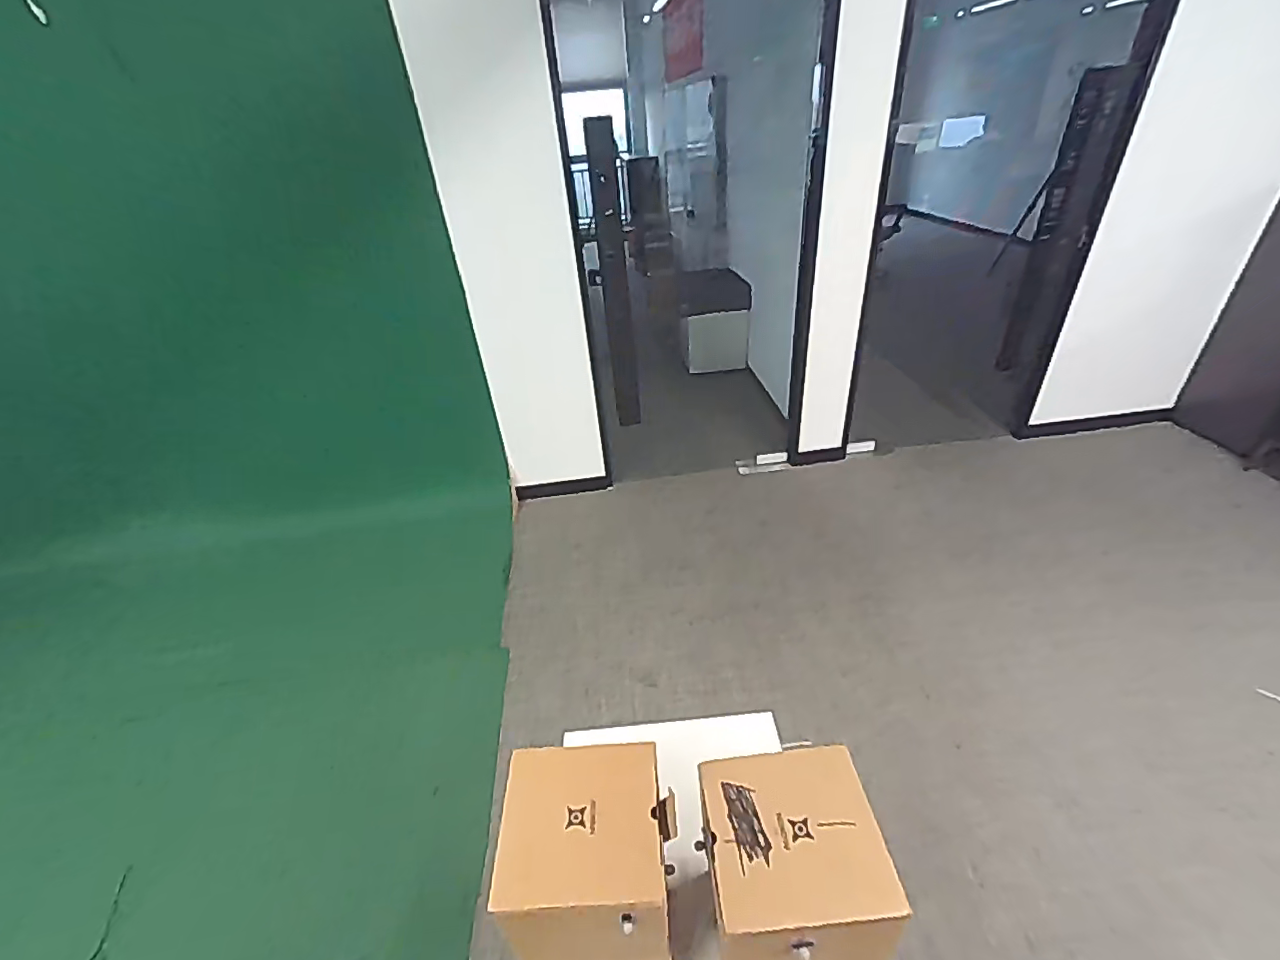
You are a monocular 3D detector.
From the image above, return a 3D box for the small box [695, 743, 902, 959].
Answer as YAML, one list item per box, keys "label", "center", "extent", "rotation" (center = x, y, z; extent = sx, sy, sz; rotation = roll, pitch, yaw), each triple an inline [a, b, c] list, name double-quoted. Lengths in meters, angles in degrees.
- label: "small box"
  center: [0.162, 0.428, 0.609]
  extent: [0.179, 0.176, 0.168]
  rotation: [-6, 33, 0]

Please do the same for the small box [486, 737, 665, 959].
- label: "small box"
  center: [-0.064, 0.431, 0.635]
  extent: [0.179, 0.176, 0.168]
  rotation: [-2, 33, -1]
